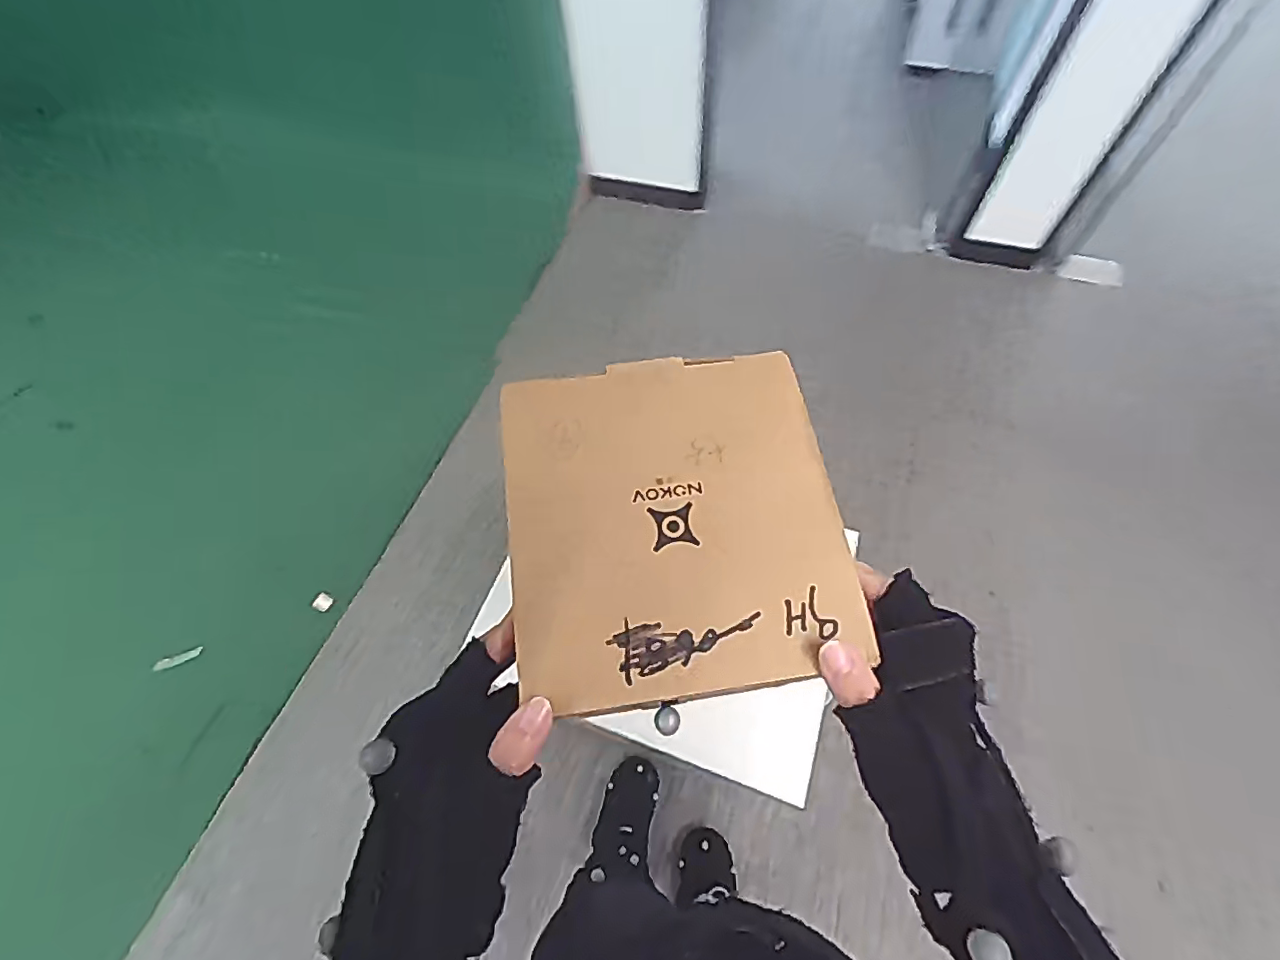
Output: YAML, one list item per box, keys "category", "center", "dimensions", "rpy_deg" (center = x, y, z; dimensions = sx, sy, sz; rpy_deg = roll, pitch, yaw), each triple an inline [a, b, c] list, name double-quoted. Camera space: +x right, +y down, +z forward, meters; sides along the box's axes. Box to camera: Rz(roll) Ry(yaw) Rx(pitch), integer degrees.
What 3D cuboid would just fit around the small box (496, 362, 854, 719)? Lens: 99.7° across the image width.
- category: "small box"
  center: [0.008, 0.050, 0.355]
  dimensions: [0.168, 0.176, 0.179]
  rpy_deg: [-9, 66, -4]
